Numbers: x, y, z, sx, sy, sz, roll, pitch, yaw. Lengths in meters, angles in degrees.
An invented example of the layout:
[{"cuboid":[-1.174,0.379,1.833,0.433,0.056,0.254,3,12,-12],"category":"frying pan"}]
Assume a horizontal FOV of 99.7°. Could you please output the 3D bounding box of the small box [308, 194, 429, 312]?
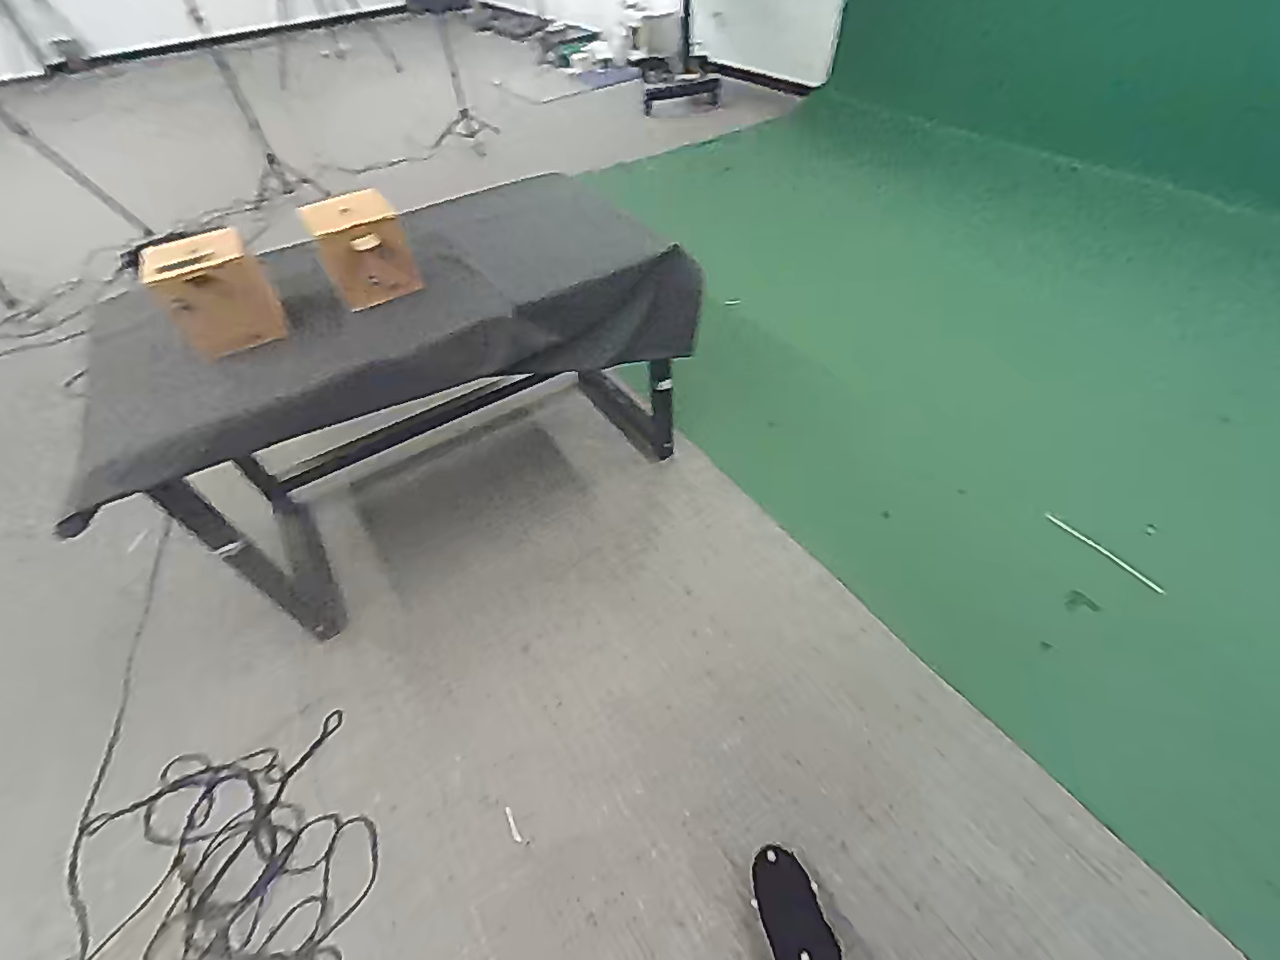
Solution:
[{"cuboid":[-0.590,-0.496,1.185,0.168,0.176,0.179,-28,53,-19],"category":"small box"}]
